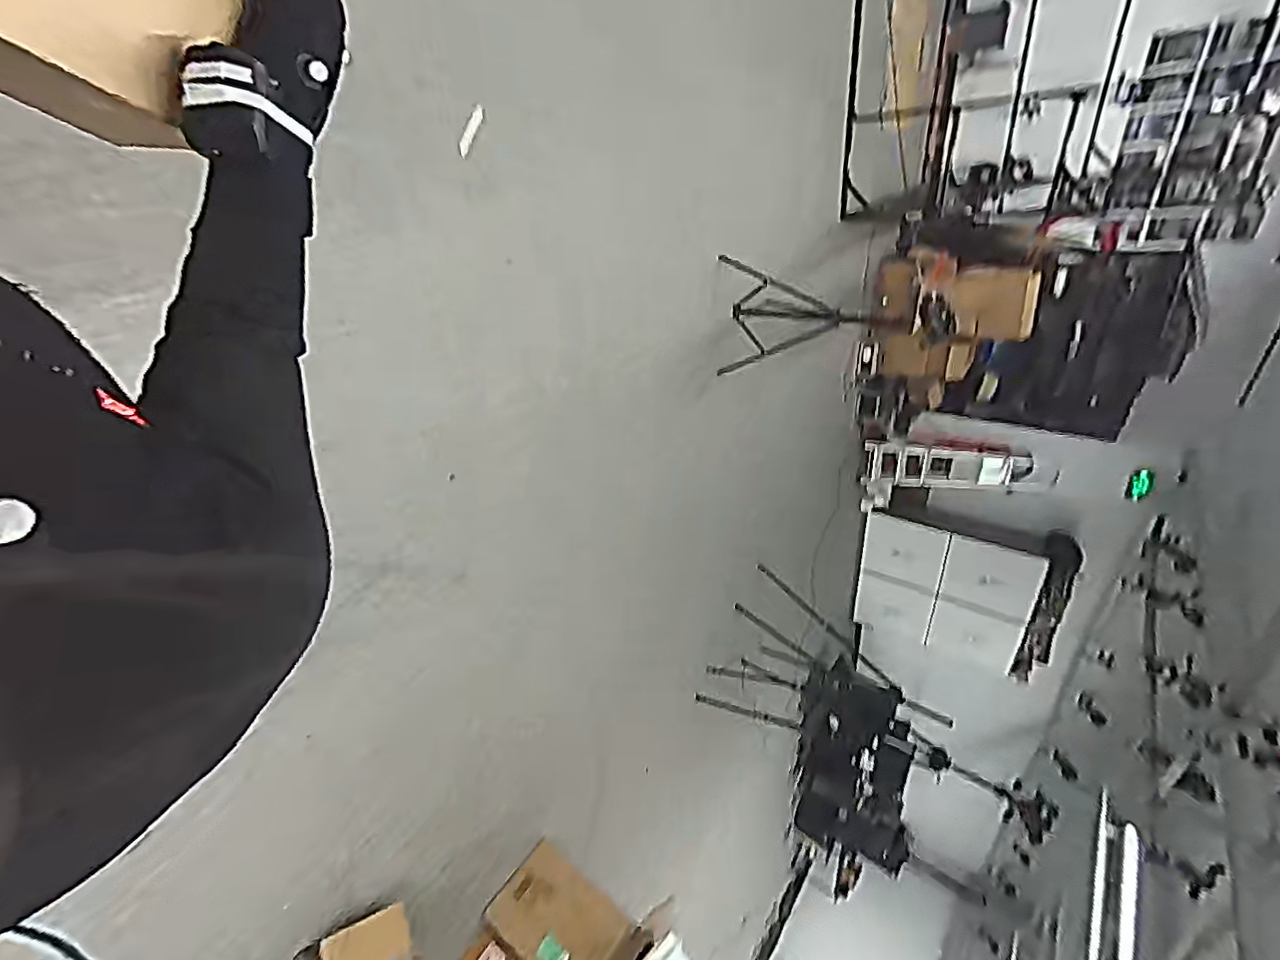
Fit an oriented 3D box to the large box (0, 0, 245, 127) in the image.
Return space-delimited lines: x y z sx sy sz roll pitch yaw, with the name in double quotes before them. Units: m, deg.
"large box" -0.512 -0.482 0.319 0.408 0.320 0.320 8 104 -58
